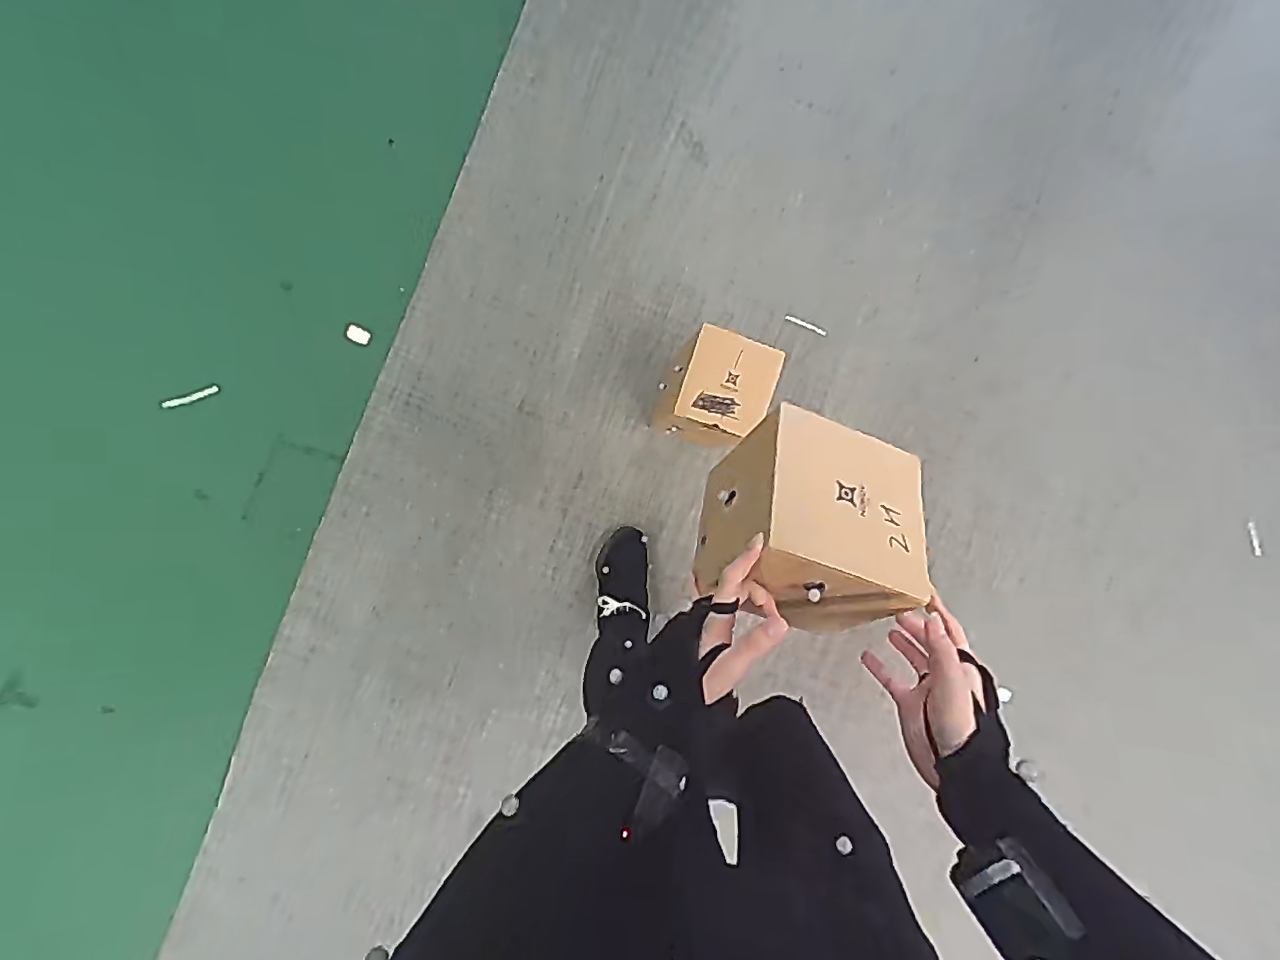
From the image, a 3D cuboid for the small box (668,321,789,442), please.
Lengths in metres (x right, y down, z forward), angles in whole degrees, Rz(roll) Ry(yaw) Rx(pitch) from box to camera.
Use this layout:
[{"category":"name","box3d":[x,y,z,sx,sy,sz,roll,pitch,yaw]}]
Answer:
[{"category":"small box","box3d":[0.161,-0.180,1.057,0.168,0.176,0.179,19,88,-7]}]

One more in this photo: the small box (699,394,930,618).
[{"category":"small box","box3d":[0.183,0.041,0.598,0.179,0.176,0.168,21,60,-13]}]
